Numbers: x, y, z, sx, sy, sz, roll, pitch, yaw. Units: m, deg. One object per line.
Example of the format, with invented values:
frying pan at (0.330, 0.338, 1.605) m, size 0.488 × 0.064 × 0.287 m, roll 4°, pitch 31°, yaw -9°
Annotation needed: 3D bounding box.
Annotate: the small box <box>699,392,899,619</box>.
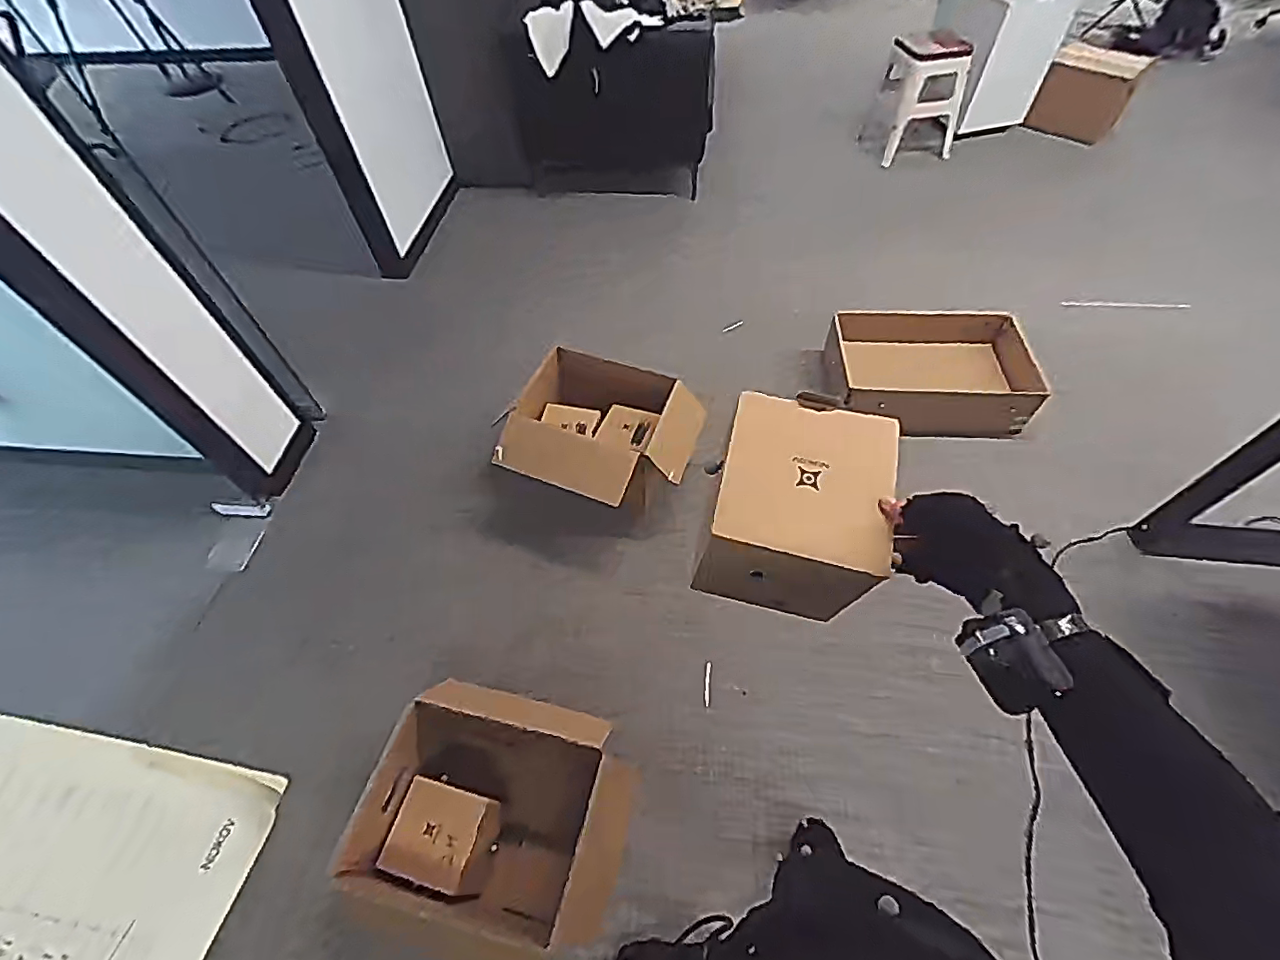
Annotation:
small box at (0.166, 0.036, 0.597) m, size 0.168 × 0.176 × 0.179 m, roll 14°, pitch 60°, yaw 5°
